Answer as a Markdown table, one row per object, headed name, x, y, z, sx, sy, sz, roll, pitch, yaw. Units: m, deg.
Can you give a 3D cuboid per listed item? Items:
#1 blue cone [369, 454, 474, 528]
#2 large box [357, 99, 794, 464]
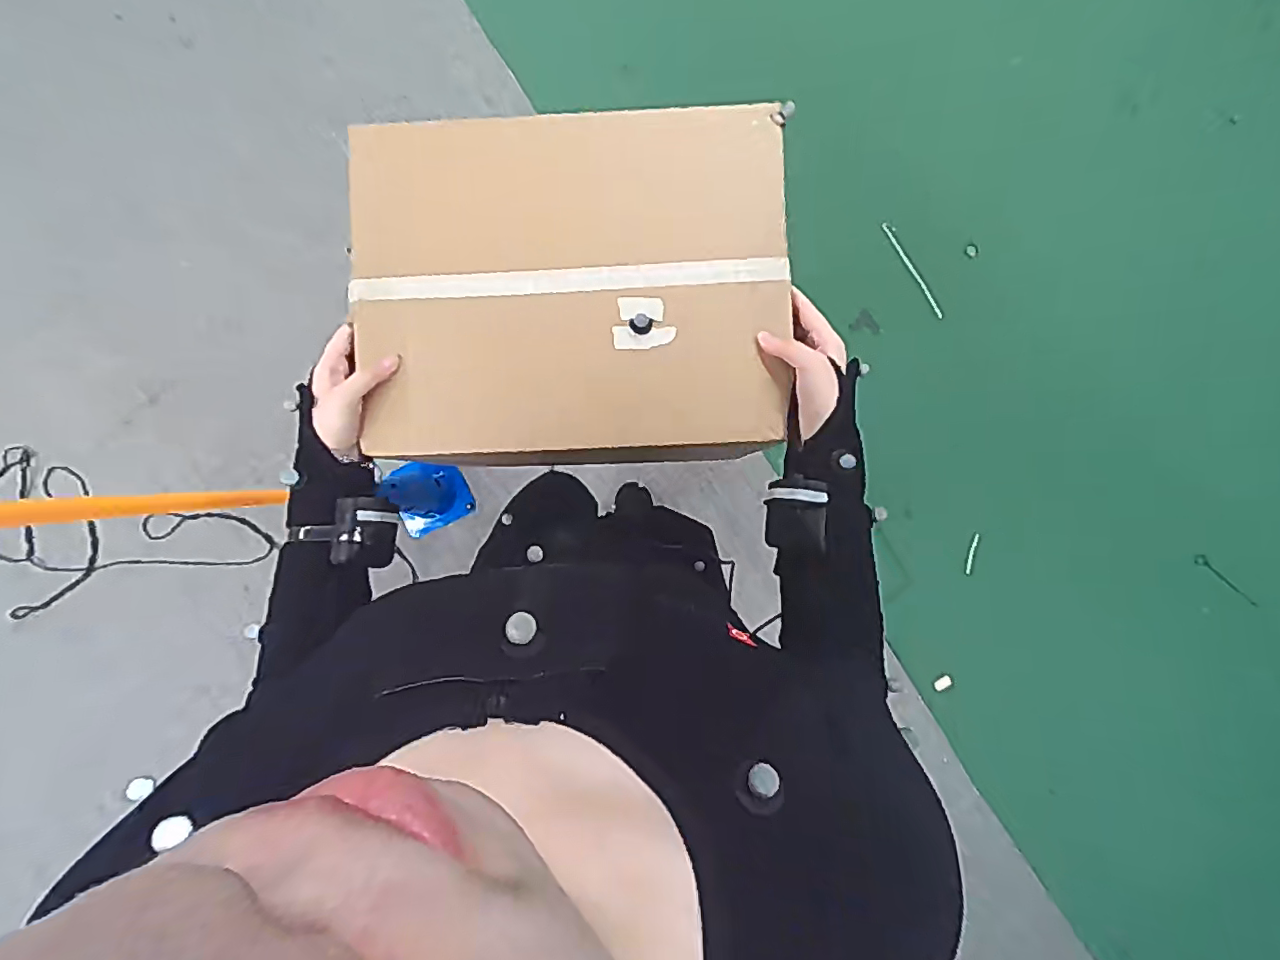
| name | x | y | z | sx | sy | sz | roll | pitch | yaw |
| --- | --- | --- | --- | --- | --- | --- | --- | --- | --- |
| blue cone | -0.571 | 0.018 | 1.329 | 0.192 | 0.380 | 0.193 | -24 | 90 | -3 |
| large box | -0.063 | -0.193 | 0.657 | 0.408 | 0.320 | 0.320 | -3 | 90 | 0 |
